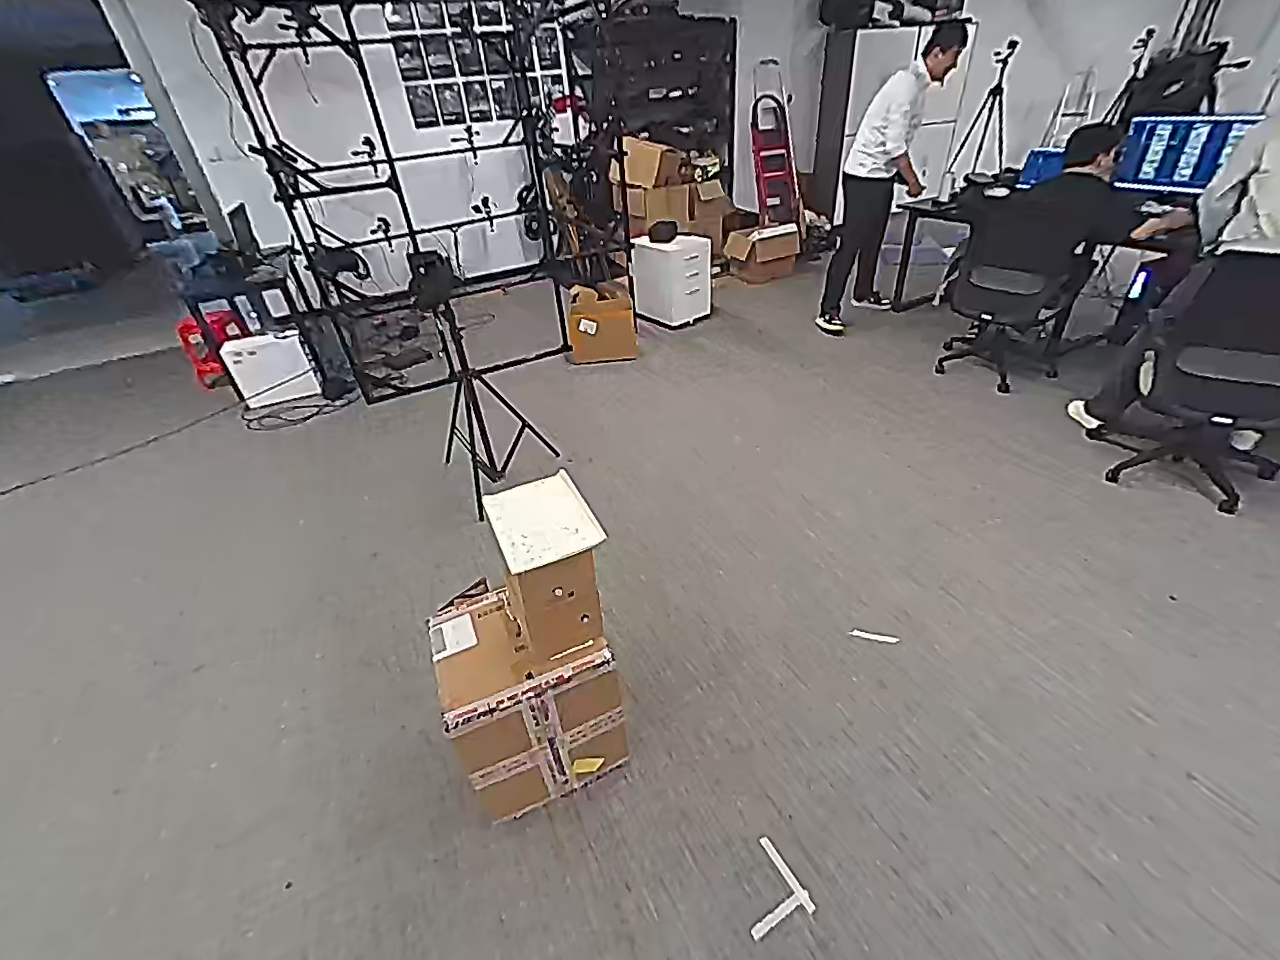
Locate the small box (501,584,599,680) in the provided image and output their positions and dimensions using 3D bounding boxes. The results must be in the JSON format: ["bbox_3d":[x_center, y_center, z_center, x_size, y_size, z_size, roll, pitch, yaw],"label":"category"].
[{"bbox_3d":[-0.205,0.325,1.260,0.179,0.176,0.168,-20,39,-22],"label":"small box"}]

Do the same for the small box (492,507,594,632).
[{"bbox_3d":[-0.207,0.191,1.165,0.168,0.176,0.179,-17,39,-20],"label":"small box"}]
